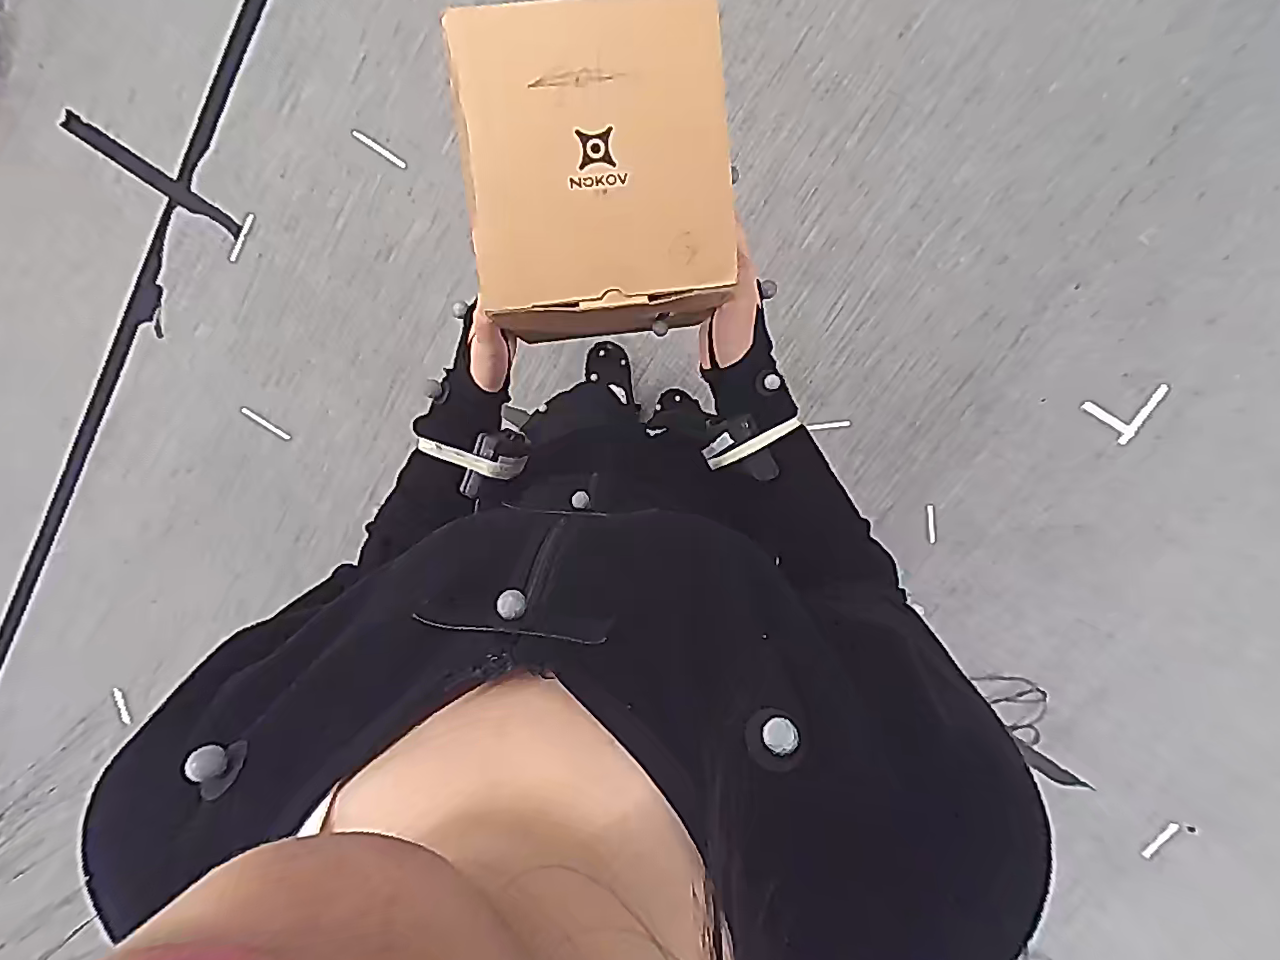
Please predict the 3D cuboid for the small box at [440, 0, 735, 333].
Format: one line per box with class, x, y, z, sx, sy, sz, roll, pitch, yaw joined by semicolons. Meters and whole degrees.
small box;-0.031;-0.211;0.407;0.168;0.176;0.179;-7;98;-3
